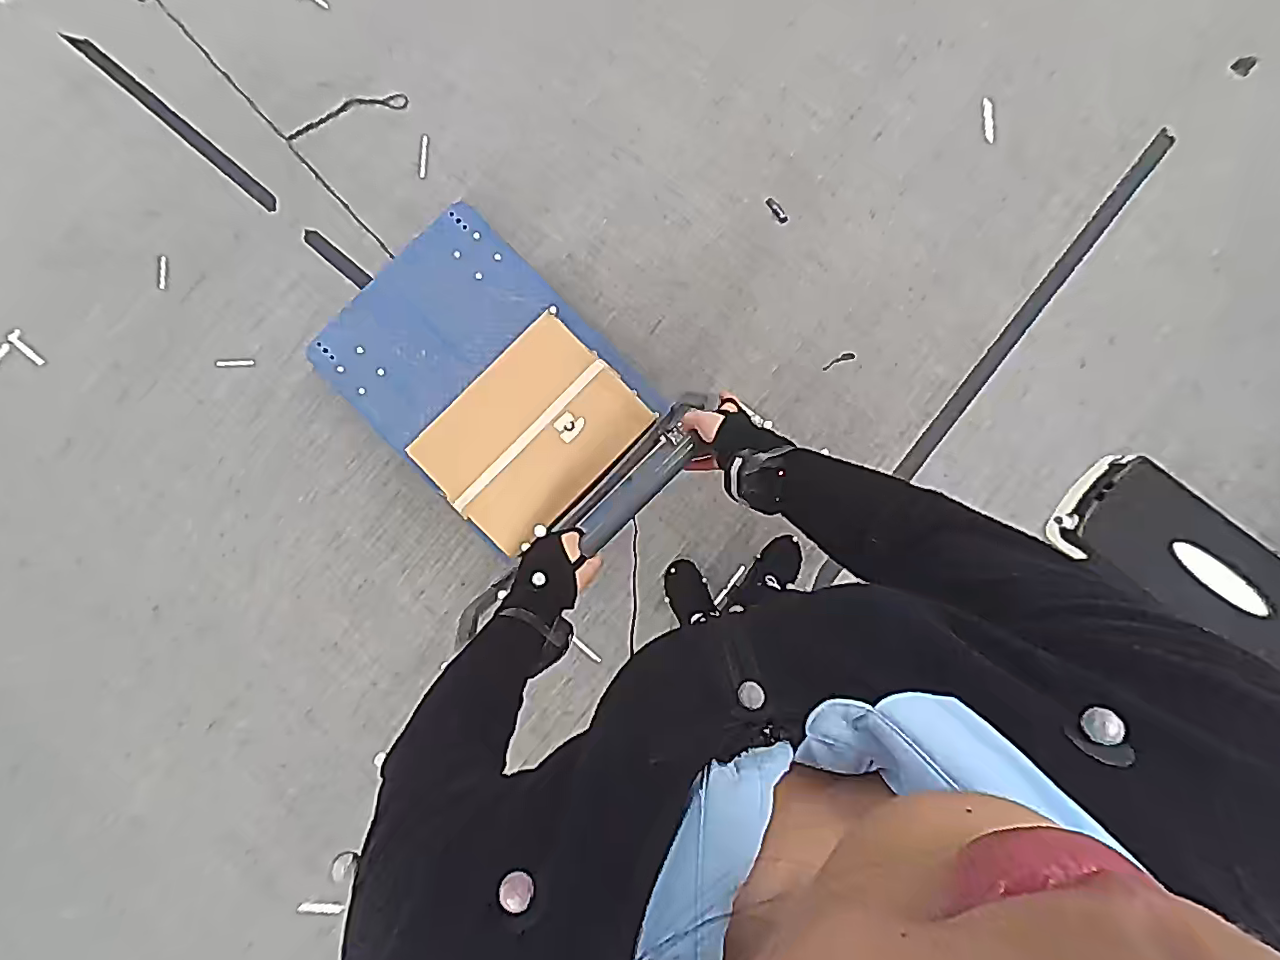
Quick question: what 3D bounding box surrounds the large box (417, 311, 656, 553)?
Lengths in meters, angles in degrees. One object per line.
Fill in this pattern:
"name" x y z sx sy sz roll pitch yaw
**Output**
"large box" -0.207 -0.088 1.231 0.320 0.320 0.408 45 89 2
